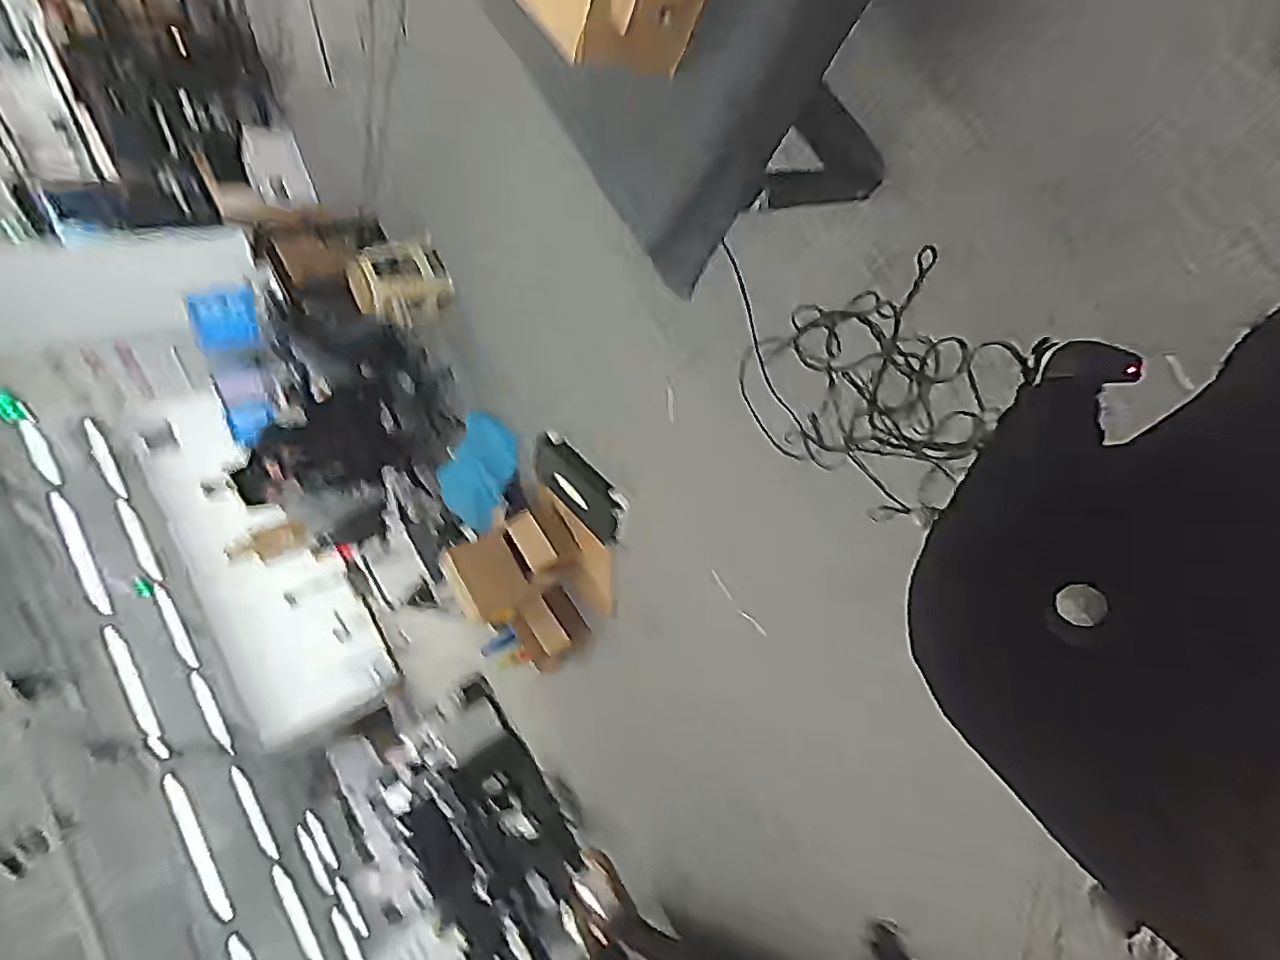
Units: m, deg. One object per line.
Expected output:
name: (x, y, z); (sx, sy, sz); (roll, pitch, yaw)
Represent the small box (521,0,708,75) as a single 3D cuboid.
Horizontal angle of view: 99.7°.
small box: (-0.028, -0.627, 0.653); (0.179, 0.176, 0.168); (56, 143, 14)
